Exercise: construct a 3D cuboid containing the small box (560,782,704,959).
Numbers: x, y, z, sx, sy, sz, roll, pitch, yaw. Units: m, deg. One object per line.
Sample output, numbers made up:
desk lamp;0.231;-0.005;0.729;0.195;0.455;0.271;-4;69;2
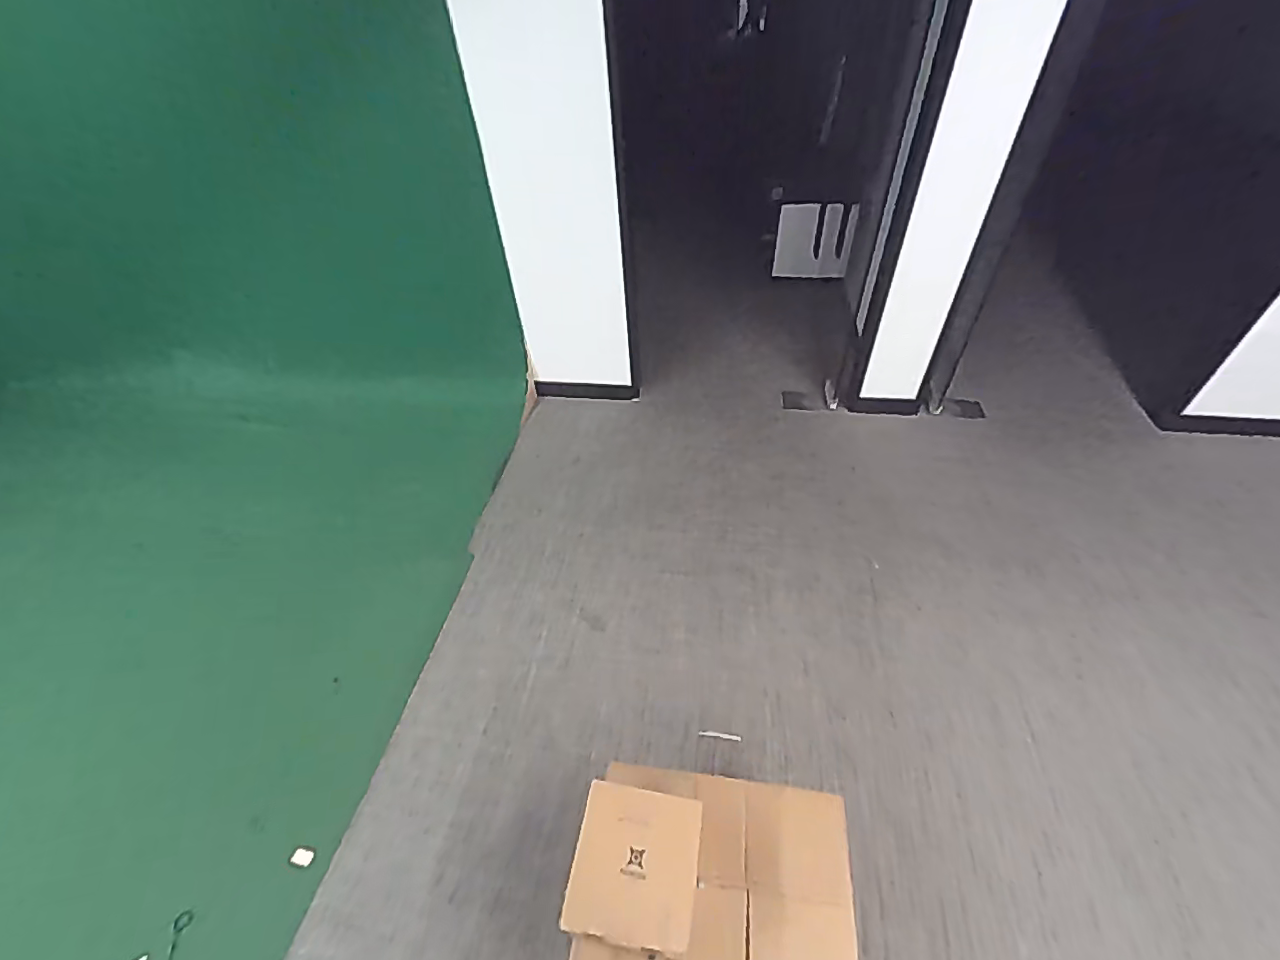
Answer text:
small box;-0.003;0.565;0.774;0.168;0.176;0.179;7;47;8
